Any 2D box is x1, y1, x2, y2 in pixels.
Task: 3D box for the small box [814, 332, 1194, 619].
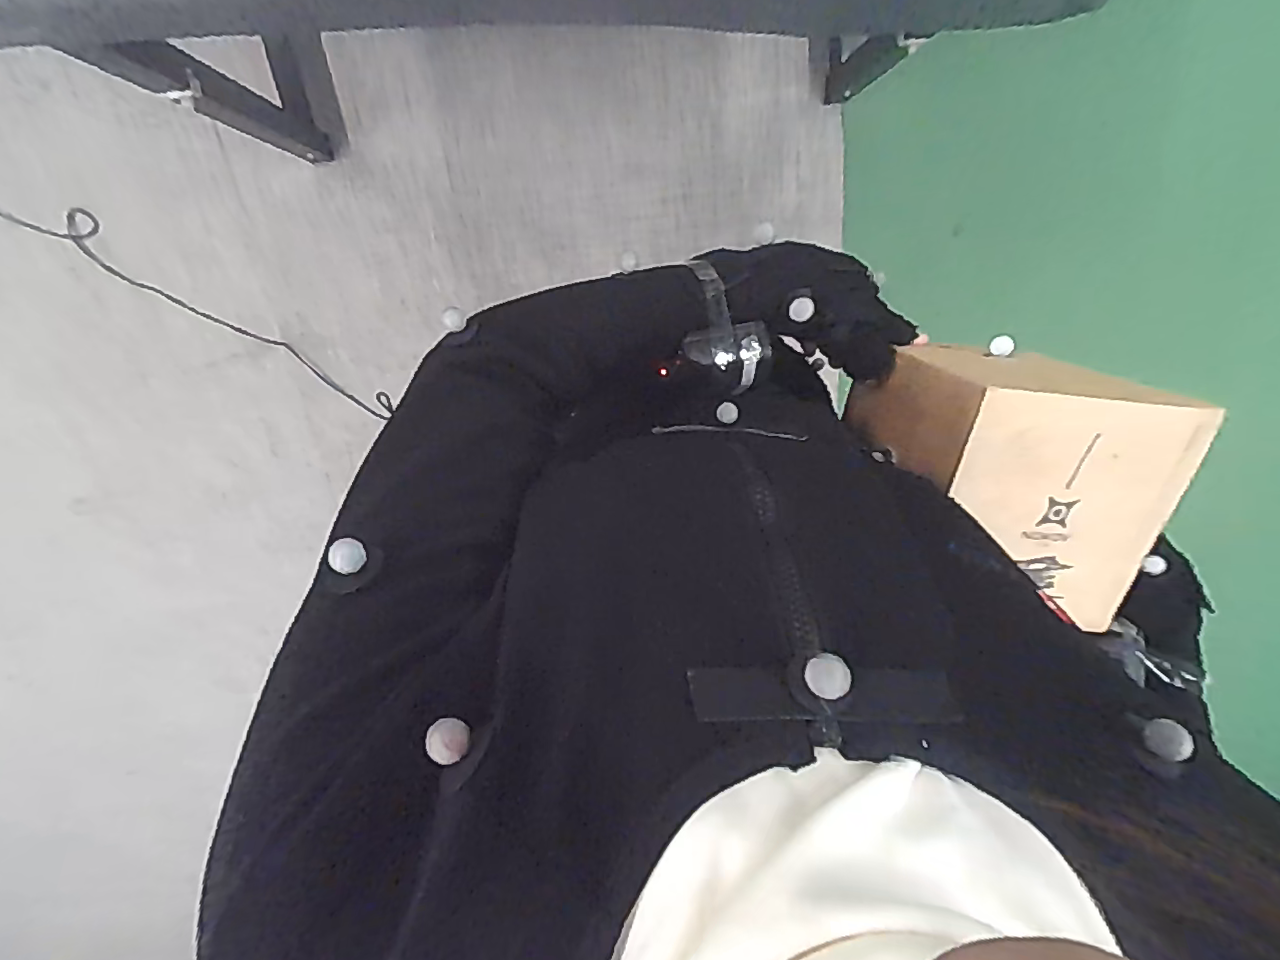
[{"bbox_3d":[0.262,-0.012,0.447,0.168,0.176,0.179,5,114,-7],"label":"small box"}]
